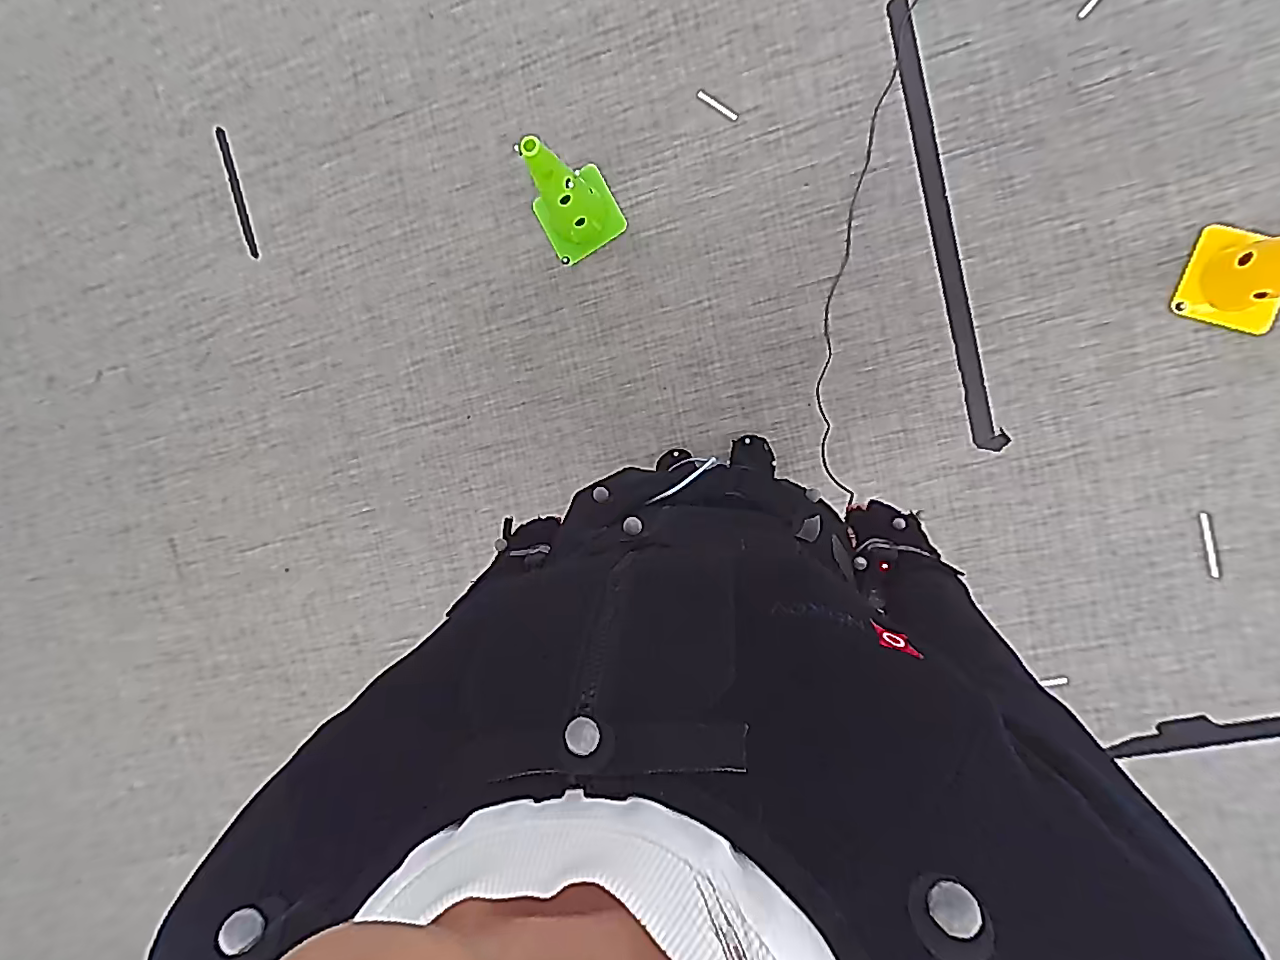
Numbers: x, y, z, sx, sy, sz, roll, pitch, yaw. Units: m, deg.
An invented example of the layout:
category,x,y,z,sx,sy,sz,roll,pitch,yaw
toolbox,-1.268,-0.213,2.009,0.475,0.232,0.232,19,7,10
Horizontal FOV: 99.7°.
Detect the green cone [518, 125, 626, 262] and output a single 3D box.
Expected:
category,x,y,z,sx,sy,sz,roll,pitch,yaw
green cone,-0.187,-0.691,1.245,0.200,0.368,0.202,-29,88,10
